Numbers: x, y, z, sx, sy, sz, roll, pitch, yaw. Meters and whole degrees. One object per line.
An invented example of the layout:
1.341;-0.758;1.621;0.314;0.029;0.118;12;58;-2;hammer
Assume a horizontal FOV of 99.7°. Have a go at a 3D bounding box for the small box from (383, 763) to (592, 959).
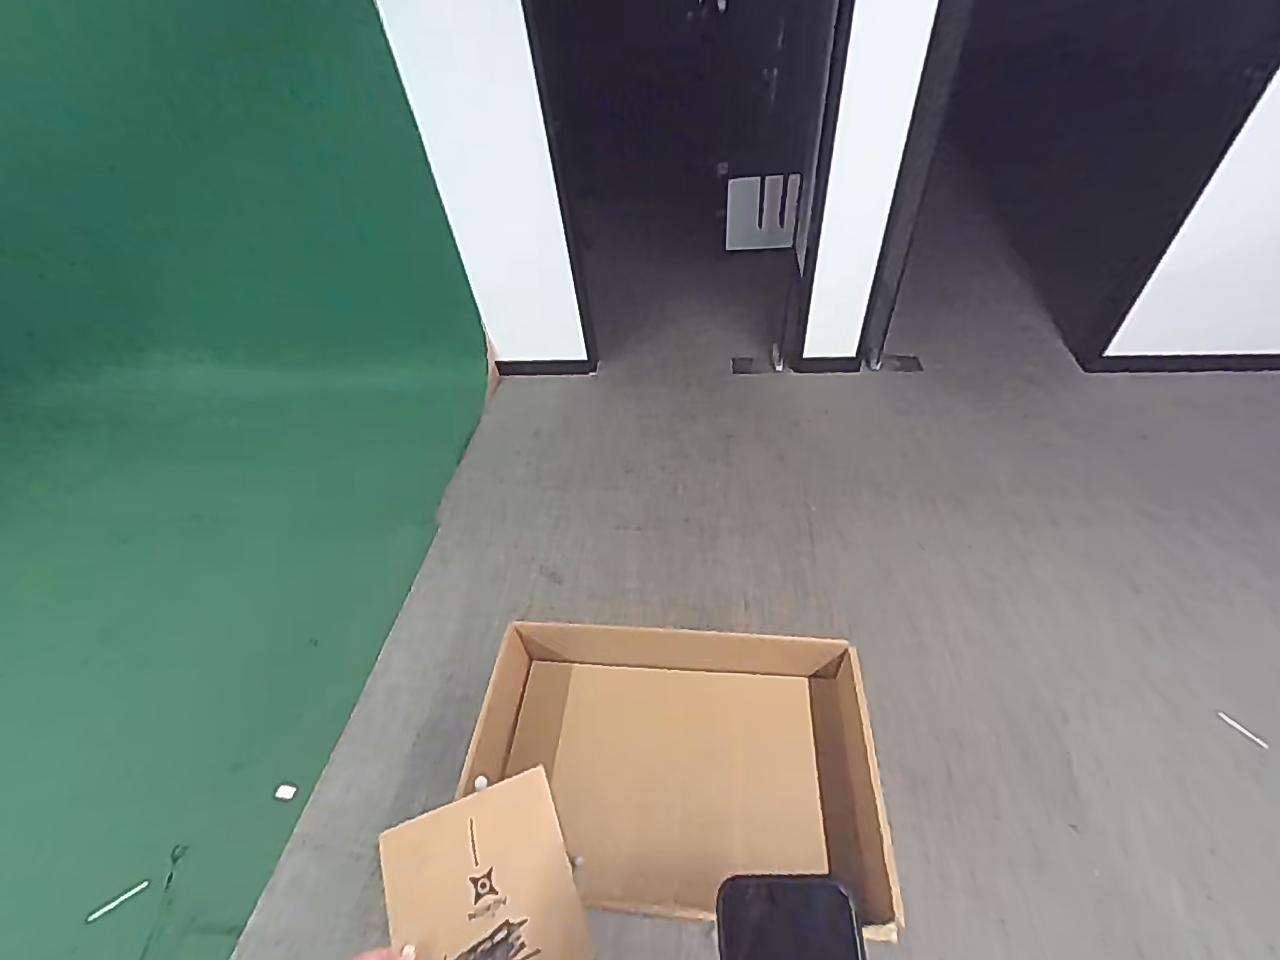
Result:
-0.156;0.427;0.581;0.168;0.176;0.179;-15;63;-16;small box
